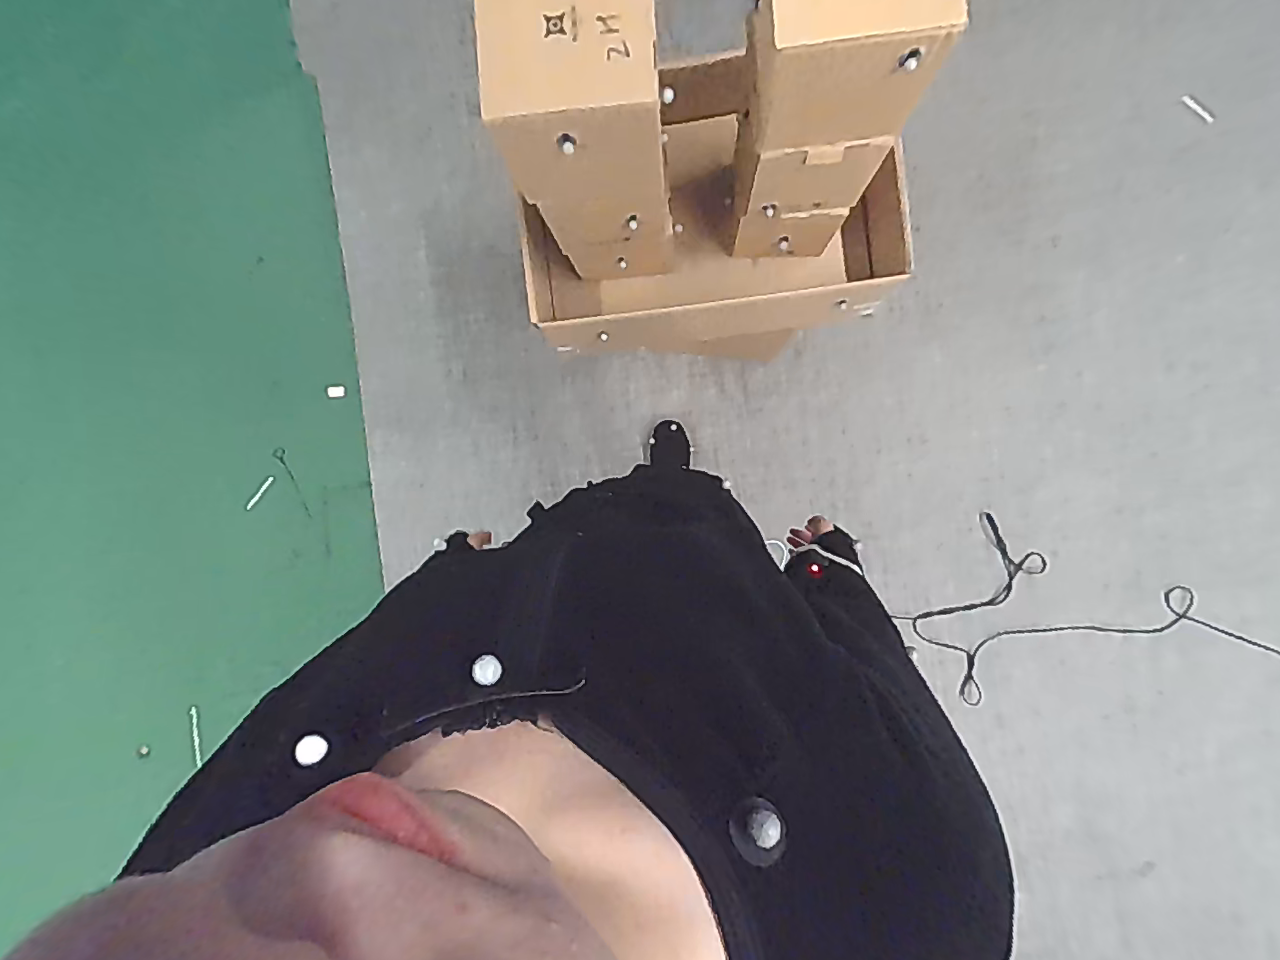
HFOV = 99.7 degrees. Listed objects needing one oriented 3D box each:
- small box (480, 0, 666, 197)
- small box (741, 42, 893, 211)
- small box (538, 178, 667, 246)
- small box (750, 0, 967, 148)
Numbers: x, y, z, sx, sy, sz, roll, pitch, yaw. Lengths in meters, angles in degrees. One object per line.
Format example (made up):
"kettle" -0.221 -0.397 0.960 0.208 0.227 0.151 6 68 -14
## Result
"small box" -0.063 -0.437 0.601 0.179 0.176 0.168 -2 92 3
"small box" 0.232 -0.492 0.743 0.168 0.176 0.179 -3 91 4
"small box" -0.051 -0.449 0.765 0.168 0.176 0.179 -6 91 4
"small box" 0.215 -0.489 0.581 0.179 0.176 0.168 -4 91 4
